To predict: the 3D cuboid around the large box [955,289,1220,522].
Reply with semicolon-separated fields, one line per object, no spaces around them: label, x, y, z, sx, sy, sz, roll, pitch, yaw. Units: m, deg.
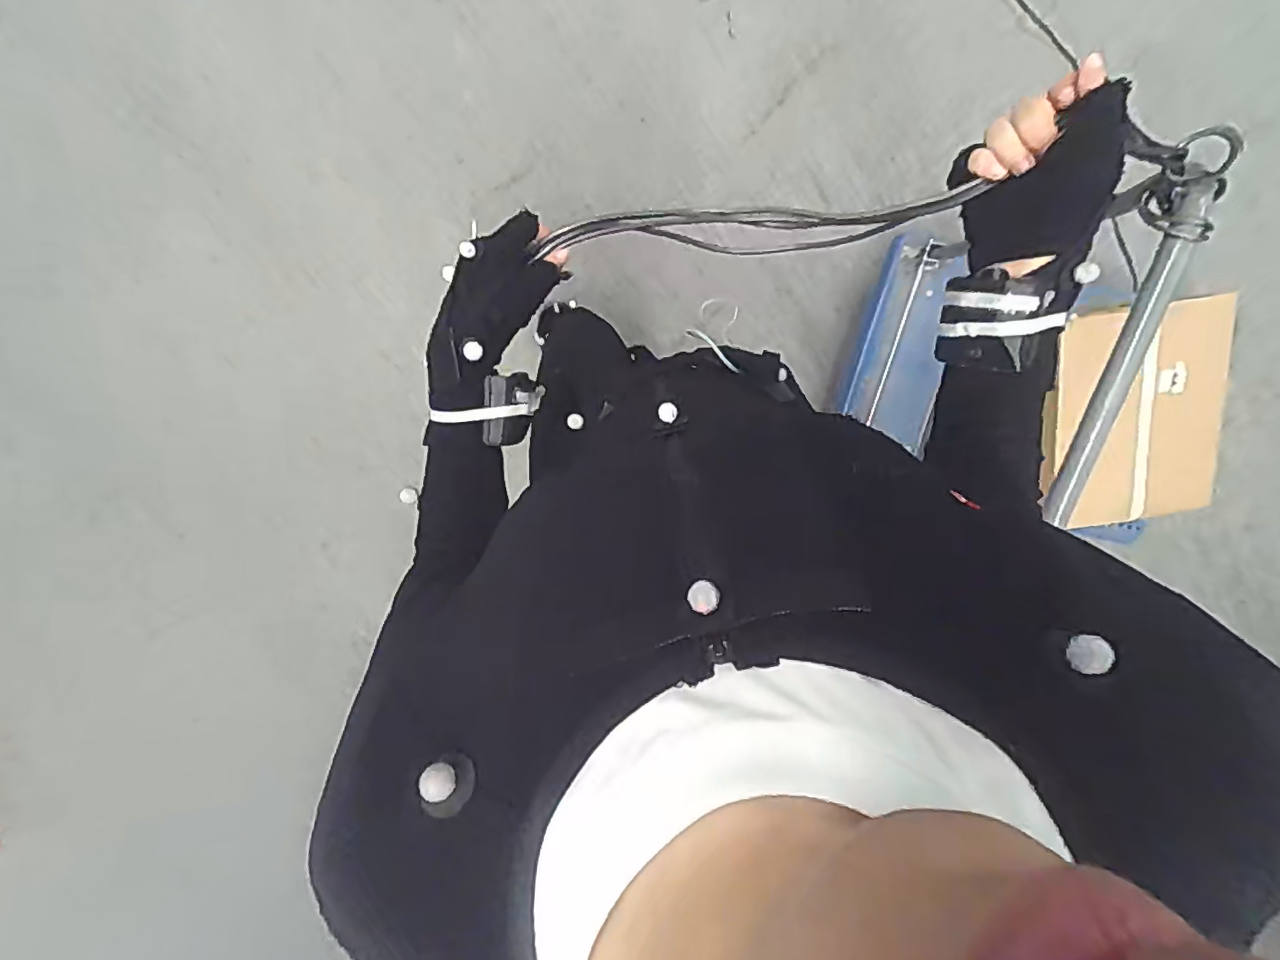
large box;0.915;-0.164;1.158;0.320;0.320;0.408;-9;104;0
